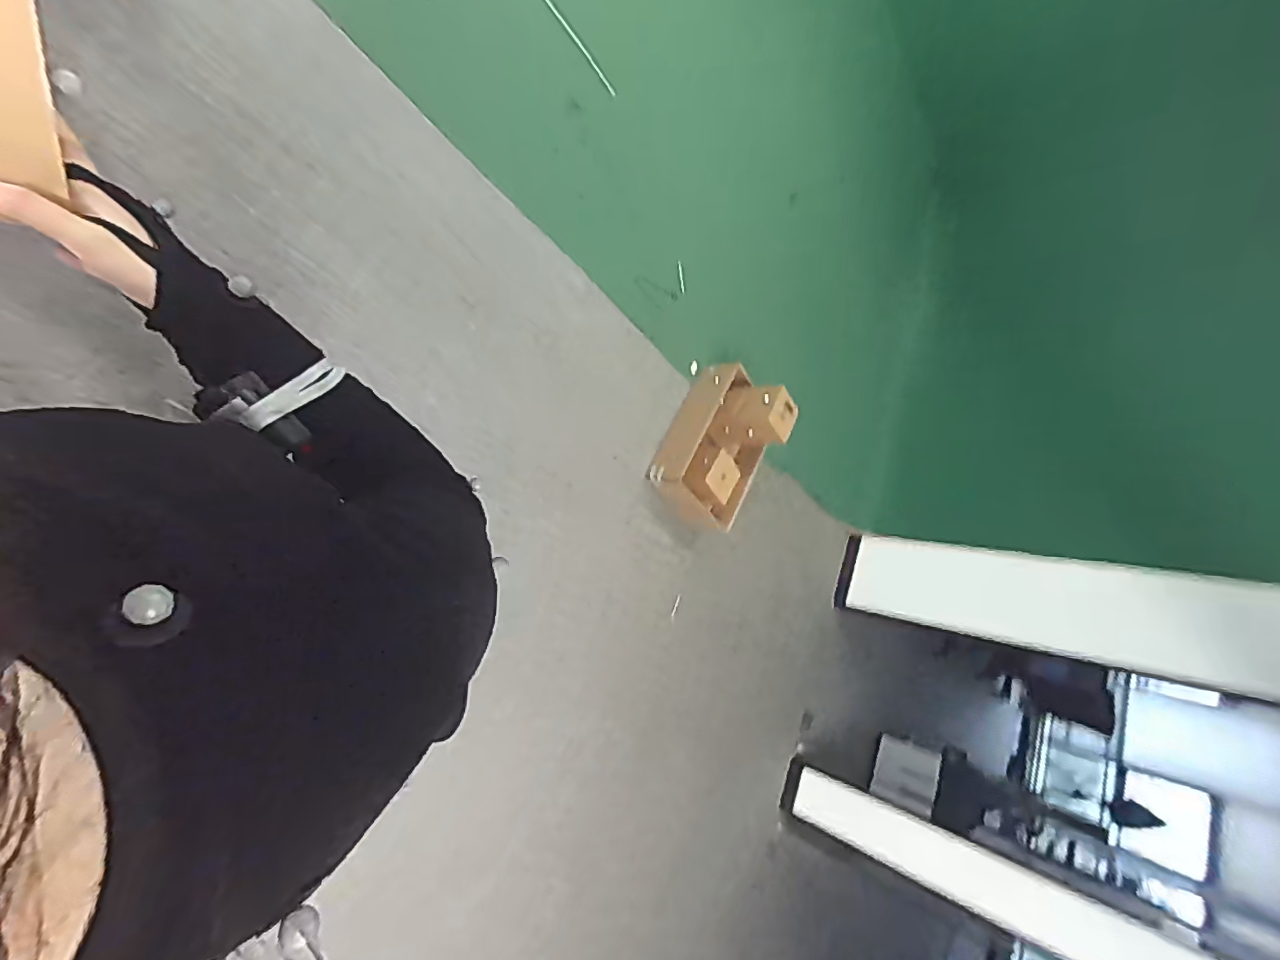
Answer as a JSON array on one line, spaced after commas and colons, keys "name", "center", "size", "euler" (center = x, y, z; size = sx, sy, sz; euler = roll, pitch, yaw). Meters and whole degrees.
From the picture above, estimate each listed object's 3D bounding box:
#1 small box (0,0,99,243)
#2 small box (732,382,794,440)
[{"name": "small box", "center": [-0.419, -0.242, 0.279], "size": [0.168, 0.176, 0.179], "euler": [-13, 126, -47]}, {"name": "small box", "center": [0.504, -0.282, 2.232], "size": [0.168, 0.176, 0.179], "euler": [44, 65, -38]}]
